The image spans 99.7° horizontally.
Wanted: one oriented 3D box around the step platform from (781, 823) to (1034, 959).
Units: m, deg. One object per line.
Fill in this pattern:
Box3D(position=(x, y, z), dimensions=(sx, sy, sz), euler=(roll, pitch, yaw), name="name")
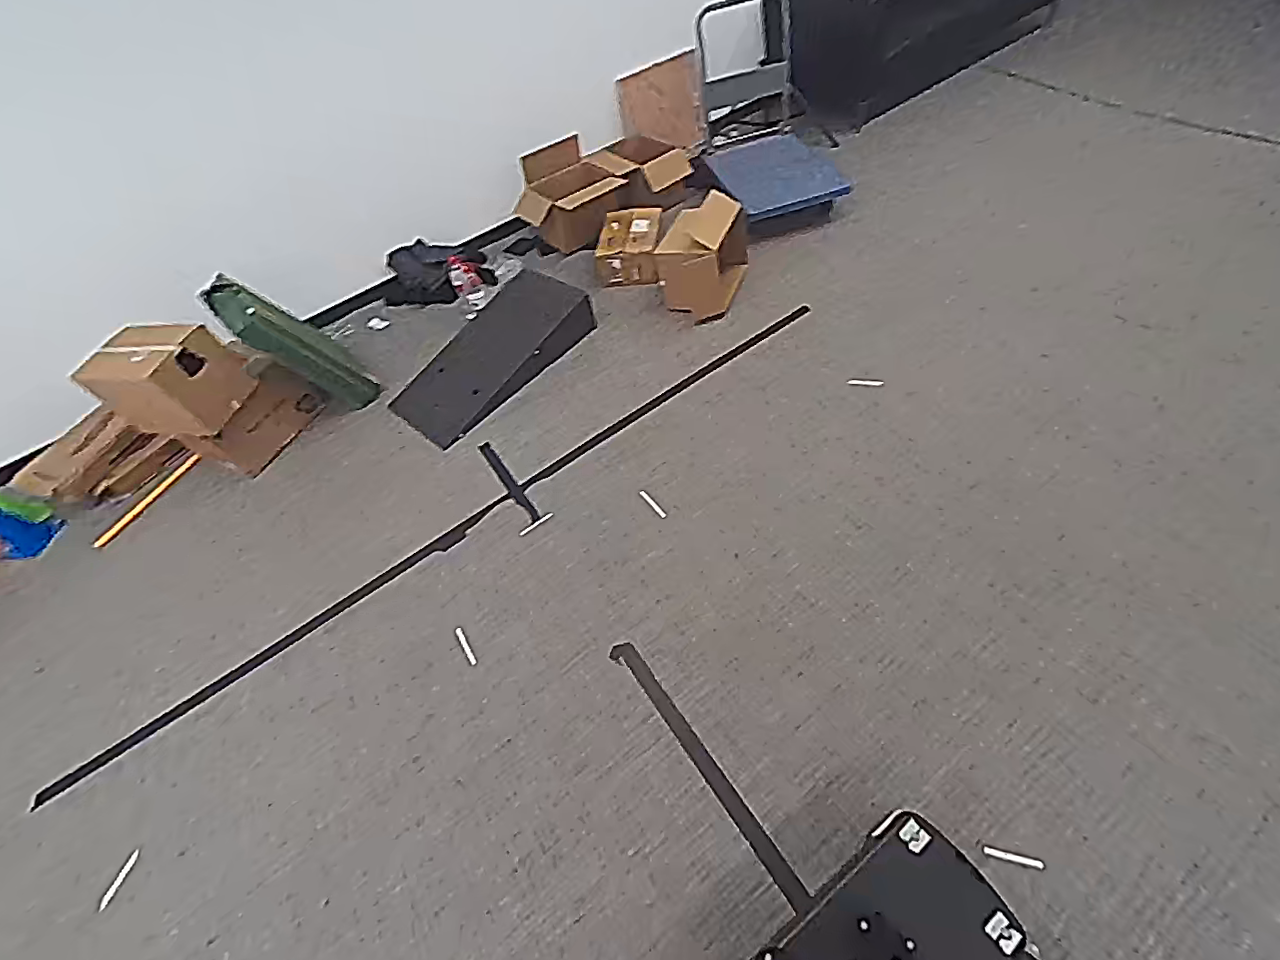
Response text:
Box3D(position=(0.434, 1.032, 1.068), dimensions=(0.684, 0.204, 0.286), euler=(-34, 54, -16), name="step platform")
